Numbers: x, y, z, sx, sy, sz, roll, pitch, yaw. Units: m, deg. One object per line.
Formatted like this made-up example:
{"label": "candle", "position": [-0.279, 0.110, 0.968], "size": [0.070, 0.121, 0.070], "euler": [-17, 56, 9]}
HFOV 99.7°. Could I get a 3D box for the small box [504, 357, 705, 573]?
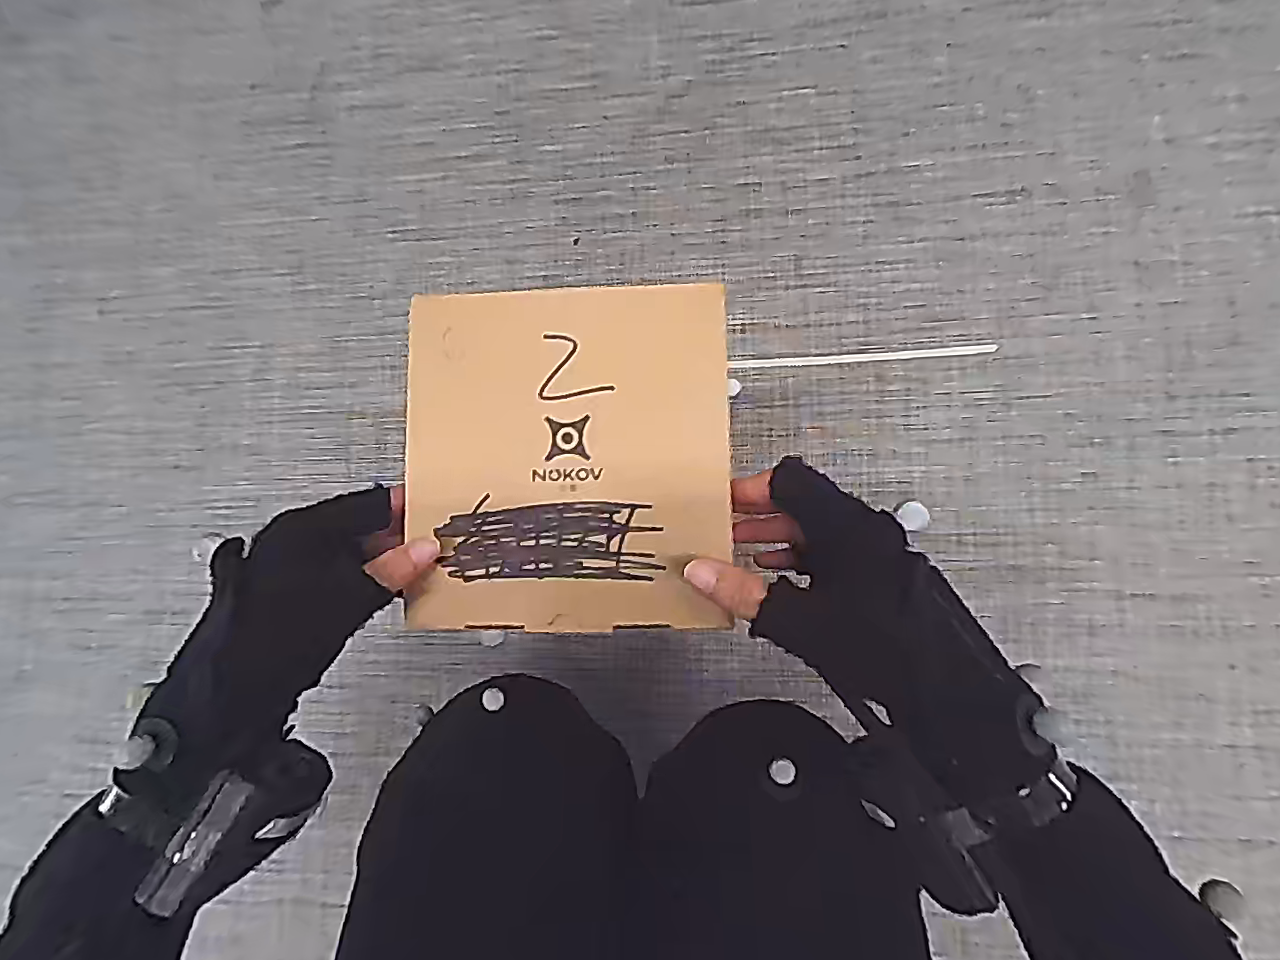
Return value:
{"label": "small box", "position": [-0.024, -0.005, 0.525], "size": [0.168, 0.176, 0.179], "euler": [-3, 85, 7]}
